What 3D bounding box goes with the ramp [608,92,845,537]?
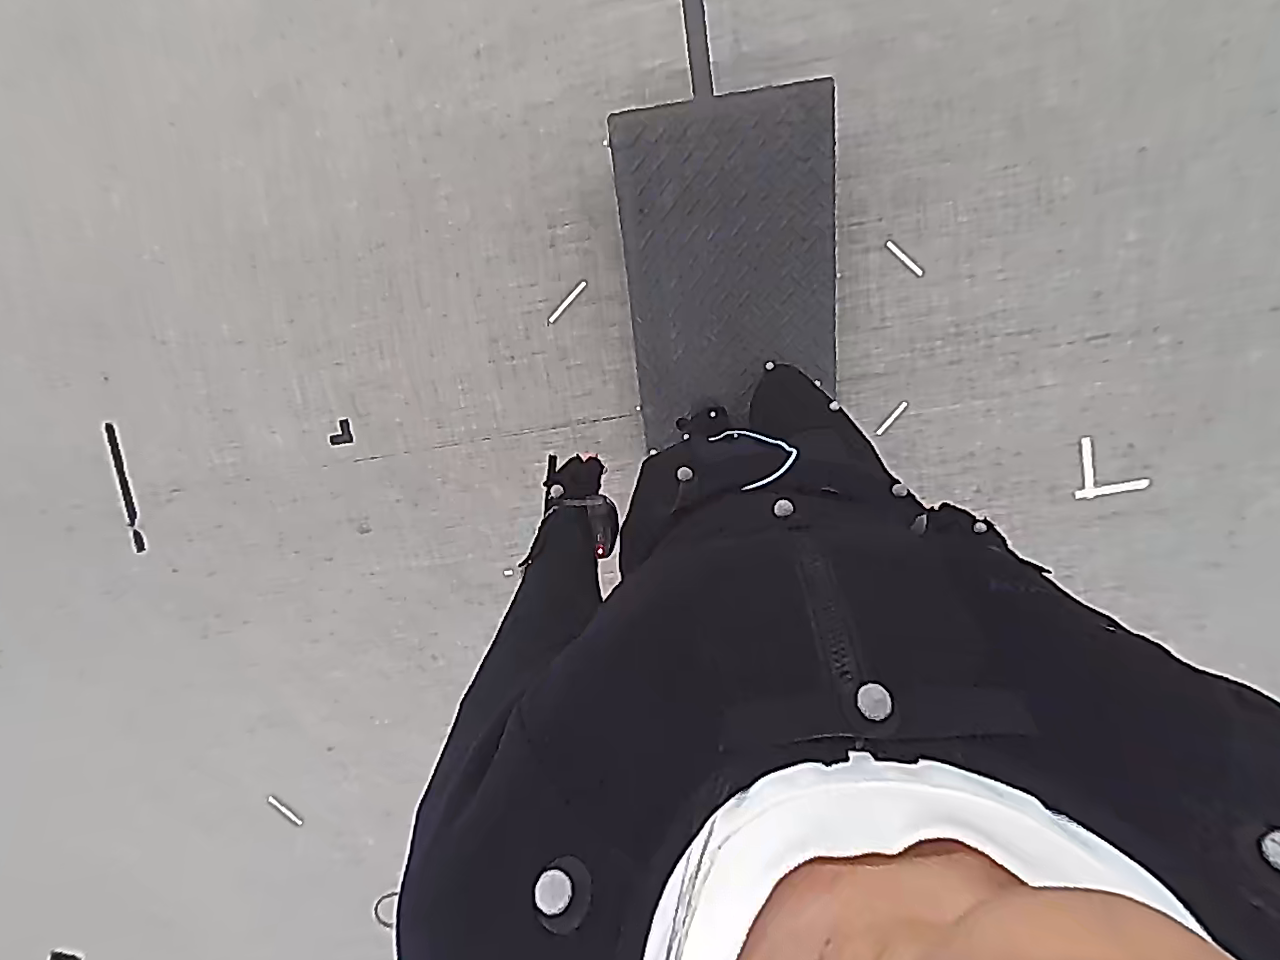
[{"bbox_3d":[0.243,-0.340,1.340,0.509,0.206,0.991,-9,97,6],"label":"ramp"}]
